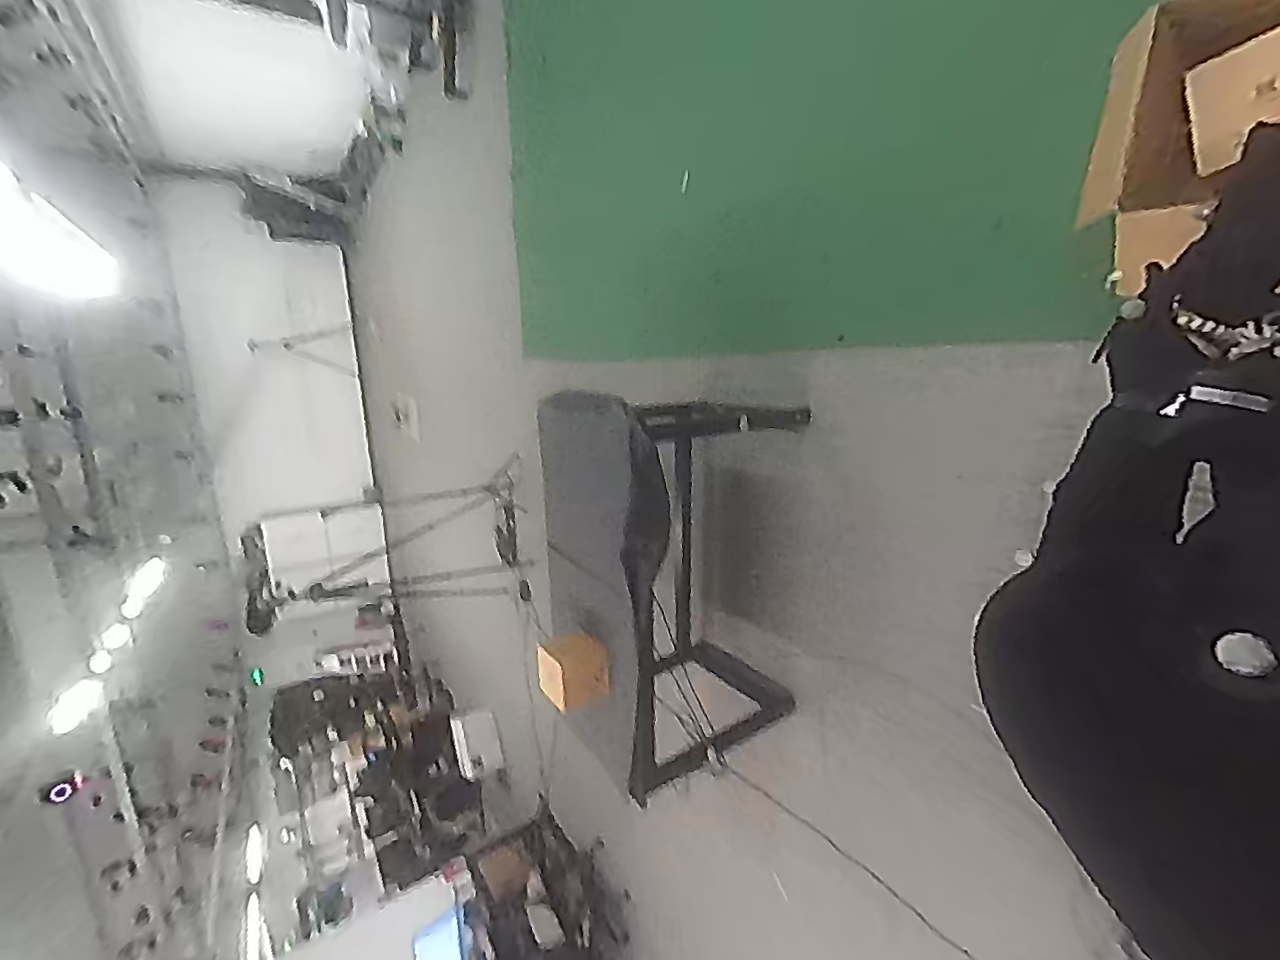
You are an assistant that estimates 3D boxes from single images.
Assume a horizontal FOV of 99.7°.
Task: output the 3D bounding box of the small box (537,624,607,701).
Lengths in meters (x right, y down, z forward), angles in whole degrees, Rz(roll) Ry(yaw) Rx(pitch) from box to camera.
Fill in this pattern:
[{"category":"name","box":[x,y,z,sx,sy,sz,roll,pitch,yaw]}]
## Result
[{"category":"small box","box":[-0.224,0.590,1.779,0.179,0.176,0.168,13,108,54]}]
